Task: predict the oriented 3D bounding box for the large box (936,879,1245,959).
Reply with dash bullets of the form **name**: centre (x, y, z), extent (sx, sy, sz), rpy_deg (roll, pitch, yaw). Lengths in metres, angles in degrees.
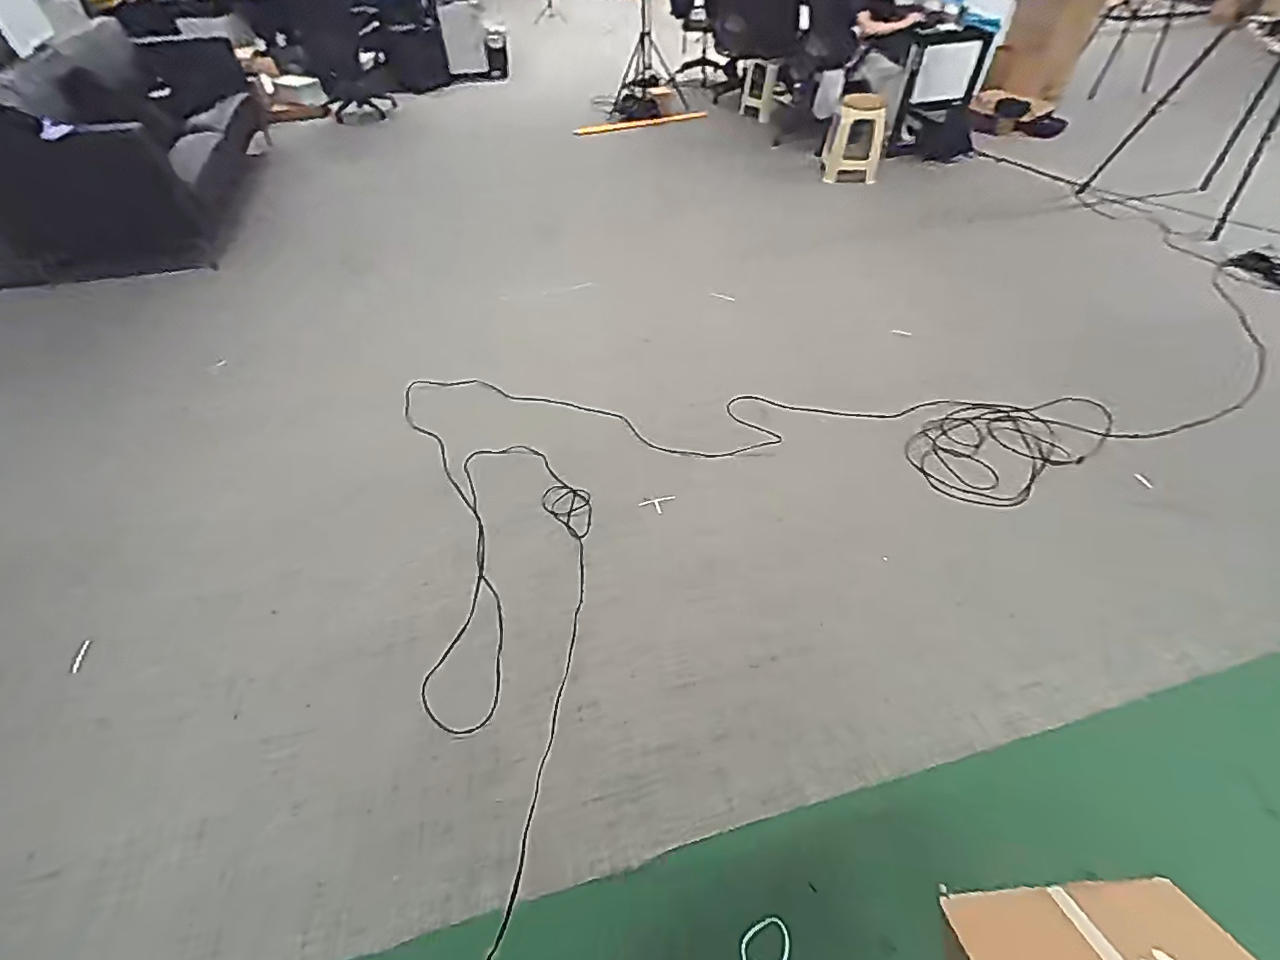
- **large box**: centre (0.590, 0.747, 0.582), extent (0.320, 0.408, 0.320), rpy_deg (-8, 93, 4)
